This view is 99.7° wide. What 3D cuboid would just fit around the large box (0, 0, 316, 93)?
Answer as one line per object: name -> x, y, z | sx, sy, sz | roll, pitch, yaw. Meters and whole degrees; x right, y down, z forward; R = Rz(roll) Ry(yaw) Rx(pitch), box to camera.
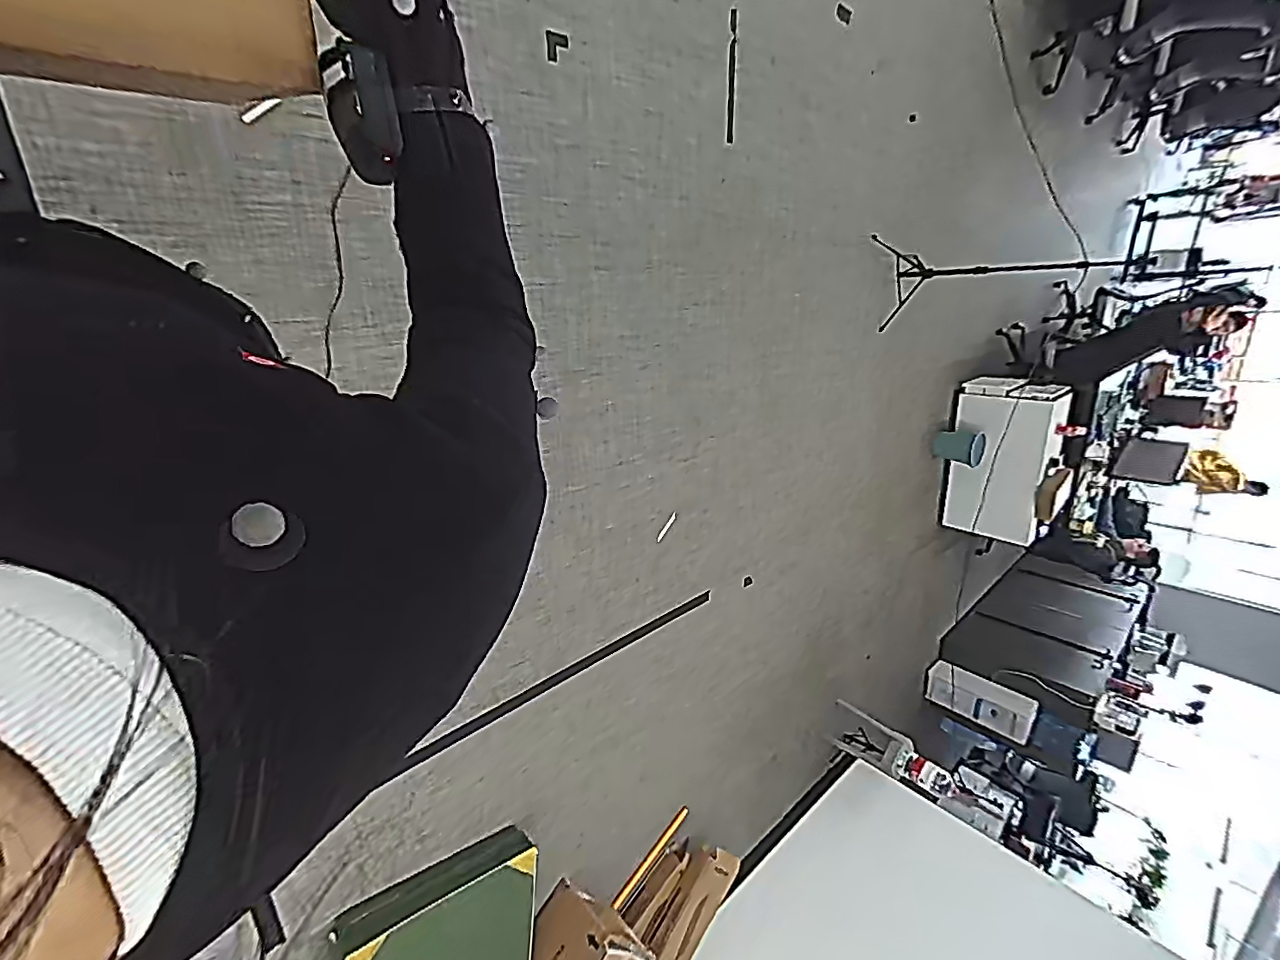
large box -> -0.442, -0.394, 0.248 | 0.408, 0.320, 0.320 | -20, 129, -37
